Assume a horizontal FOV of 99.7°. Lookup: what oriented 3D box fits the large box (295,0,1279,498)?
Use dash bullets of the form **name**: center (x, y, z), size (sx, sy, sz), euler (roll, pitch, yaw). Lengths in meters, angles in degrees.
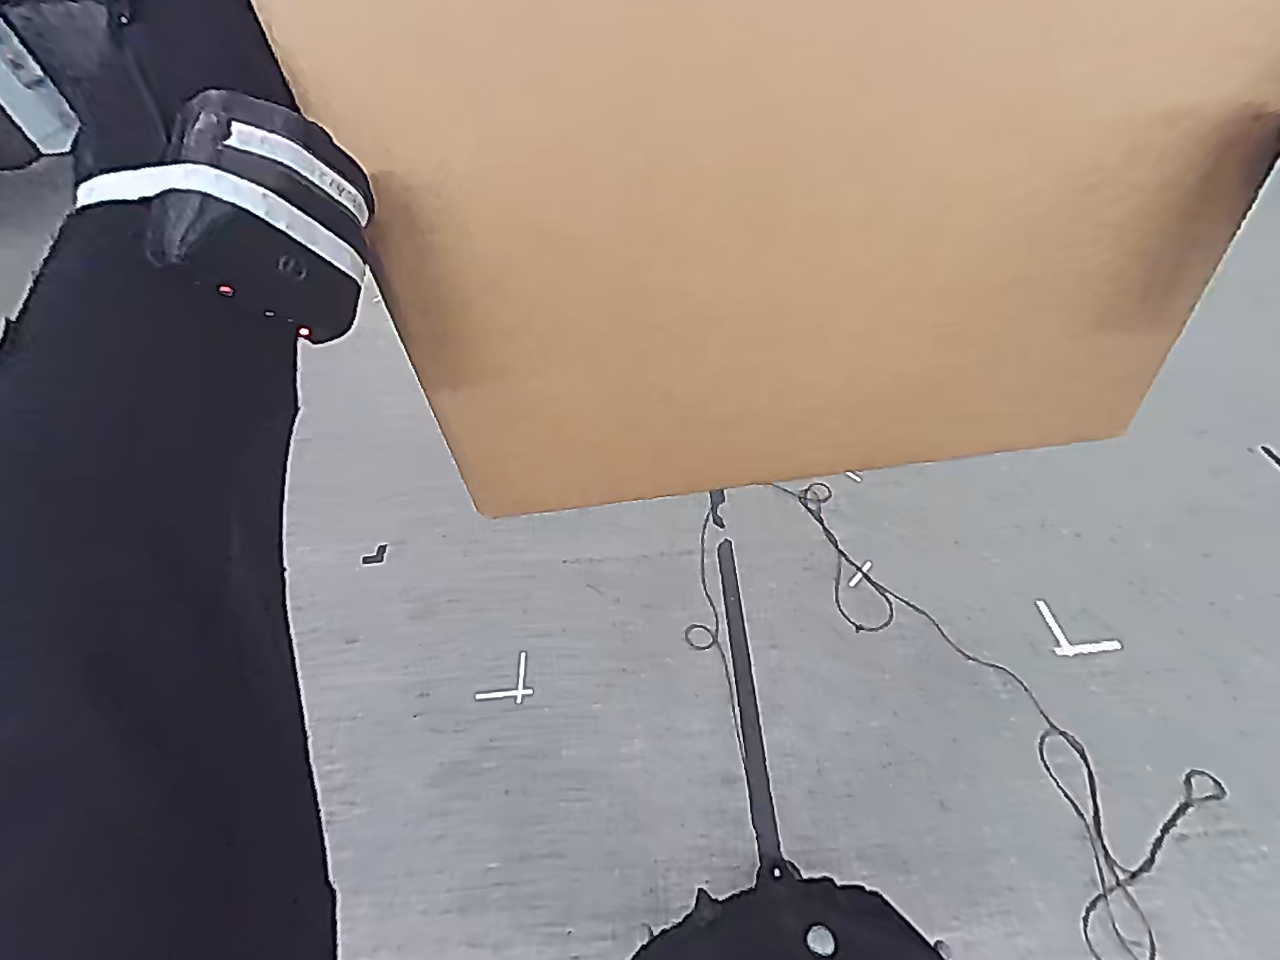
- **large box**: center (0.069, -0.218, 0.361), size (0.408, 0.320, 0.320), euler (-7, 40, 1)
